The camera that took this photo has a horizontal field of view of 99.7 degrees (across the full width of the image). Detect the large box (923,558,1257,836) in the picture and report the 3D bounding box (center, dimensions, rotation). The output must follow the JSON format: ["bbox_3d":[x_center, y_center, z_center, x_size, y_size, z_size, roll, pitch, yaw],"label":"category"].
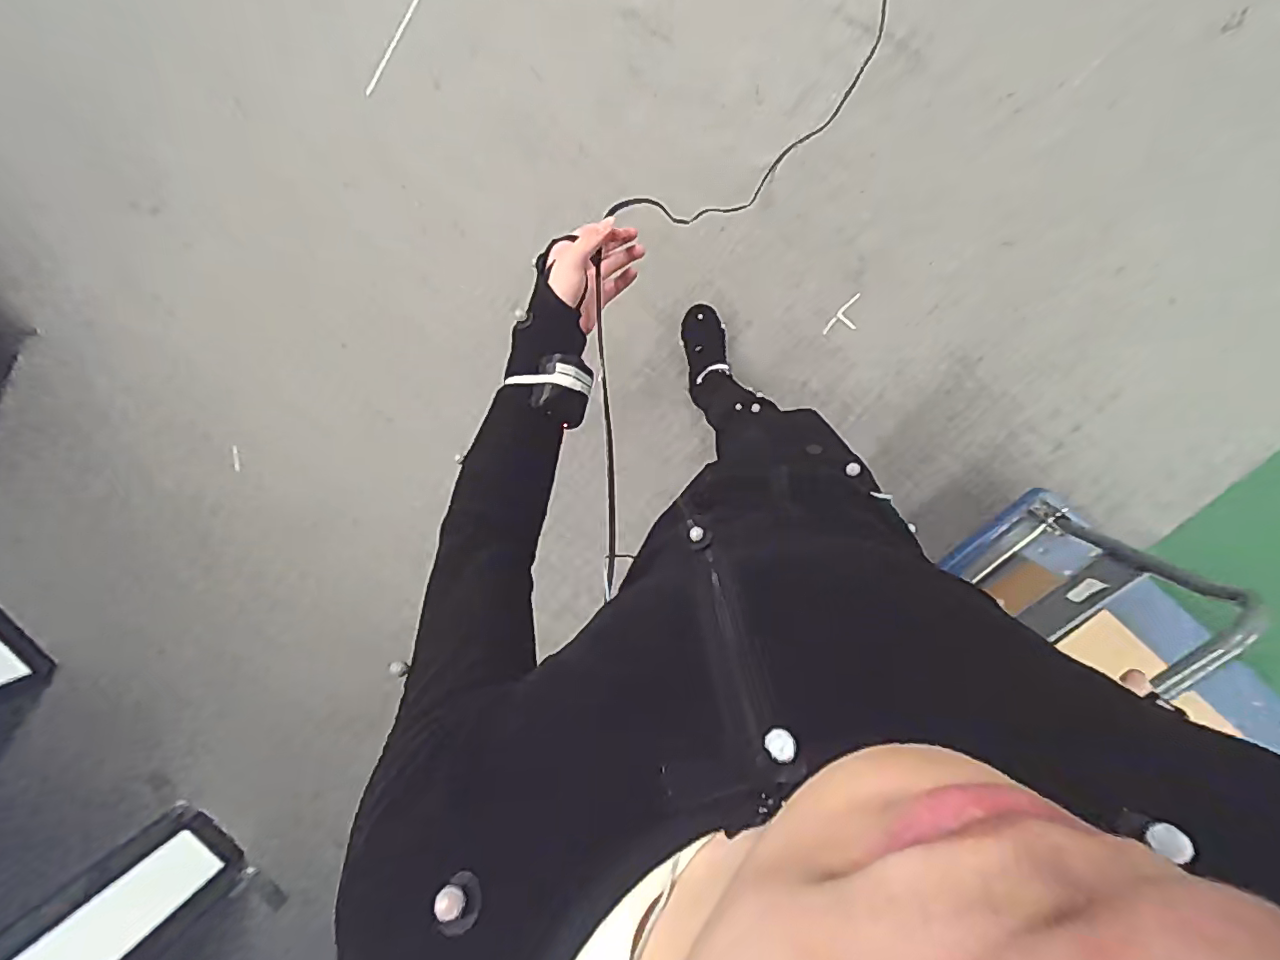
[{"bbox_3d":[0.923,0.443,1.184,0.408,0.320,0.320,44,106,2],"label":"large box"}]
